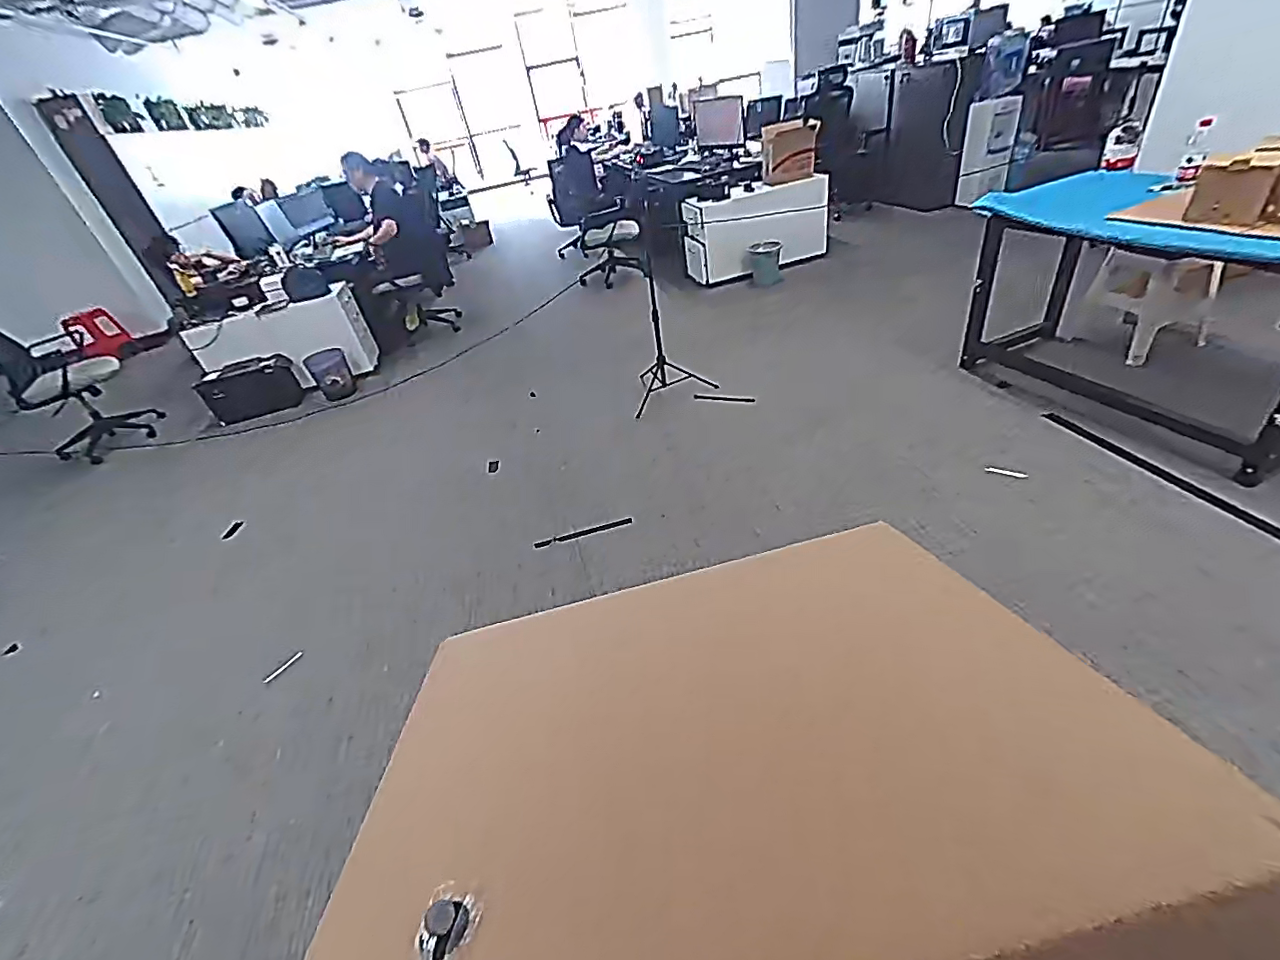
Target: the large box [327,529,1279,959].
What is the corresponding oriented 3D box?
[{"bbox_3d":[0.075,0.273,0.384,0.408,0.320,0.320,-15,19,-1],"label":"large box"}]
